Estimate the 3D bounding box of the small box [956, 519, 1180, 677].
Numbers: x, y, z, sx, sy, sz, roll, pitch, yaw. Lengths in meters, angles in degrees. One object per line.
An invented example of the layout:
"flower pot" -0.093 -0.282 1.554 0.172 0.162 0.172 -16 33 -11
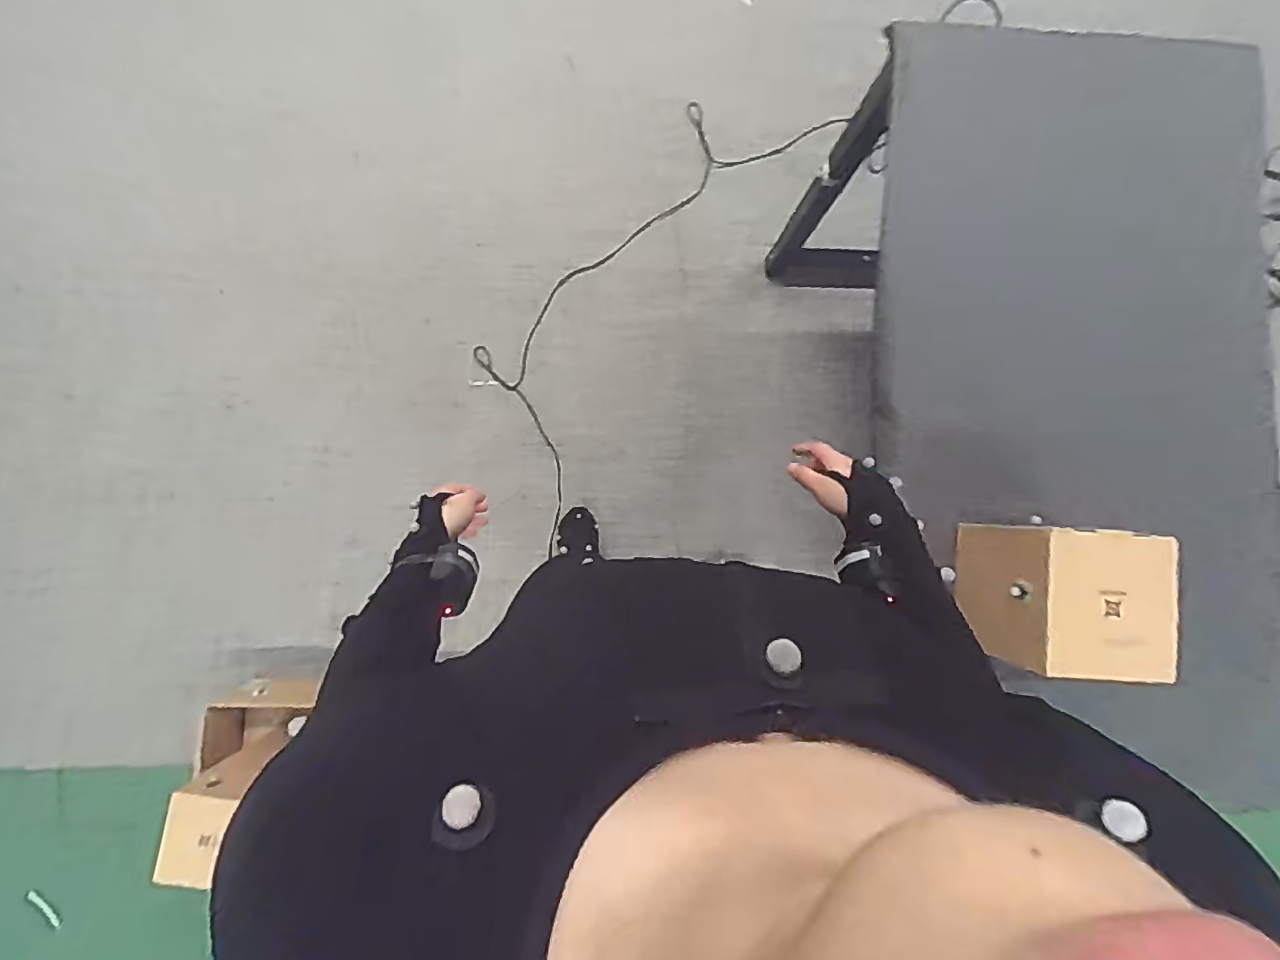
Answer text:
"small box" 0.545 0.143 0.709 0.168 0.176 0.179 4 87 -4
